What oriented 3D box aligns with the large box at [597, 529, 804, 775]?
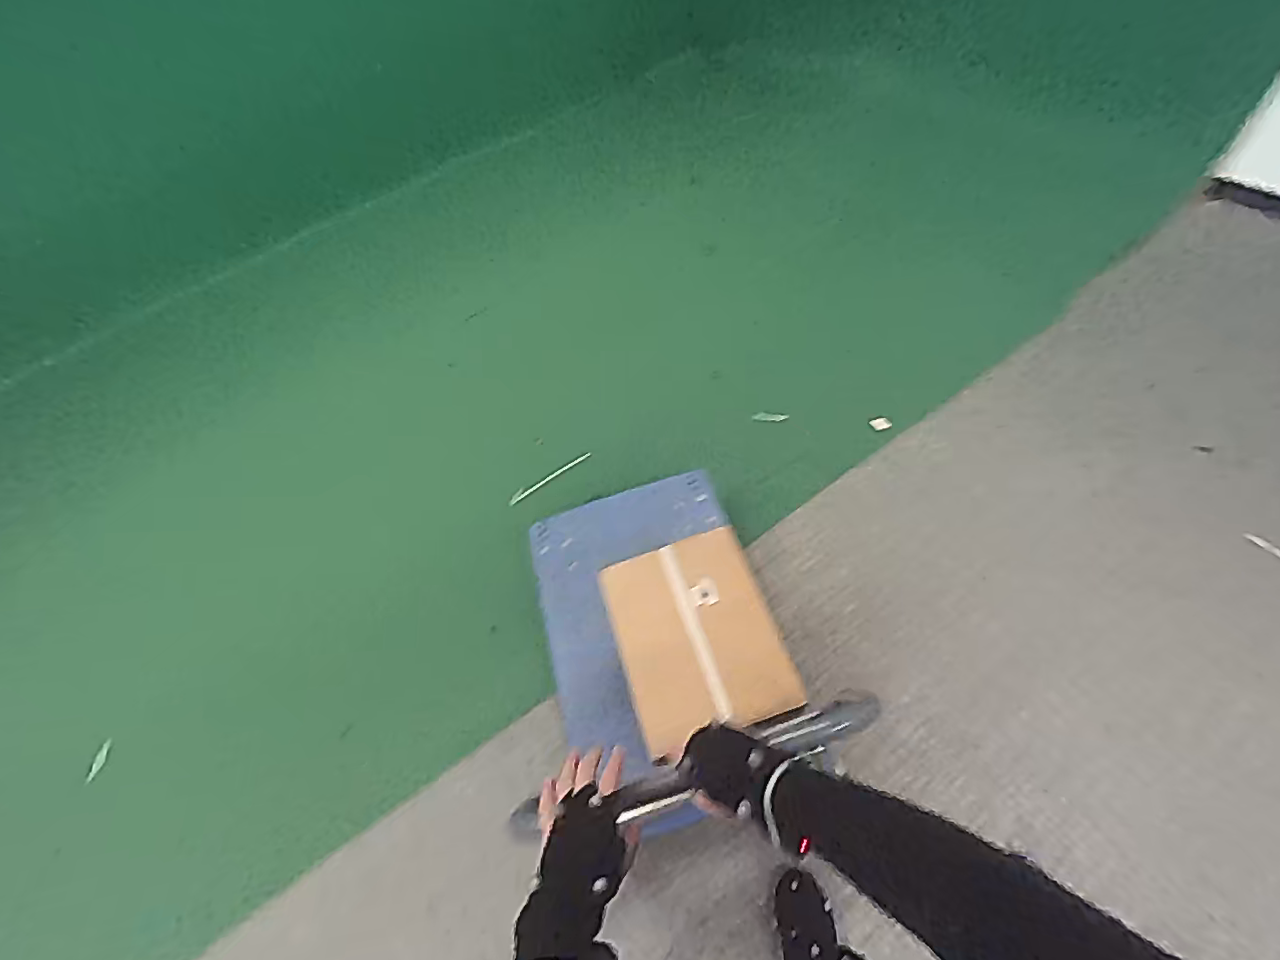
[{"bbox_3d":[0.128,0.394,1.231,0.320,0.320,0.408,-19,55,-3],"label":"large box"}]
